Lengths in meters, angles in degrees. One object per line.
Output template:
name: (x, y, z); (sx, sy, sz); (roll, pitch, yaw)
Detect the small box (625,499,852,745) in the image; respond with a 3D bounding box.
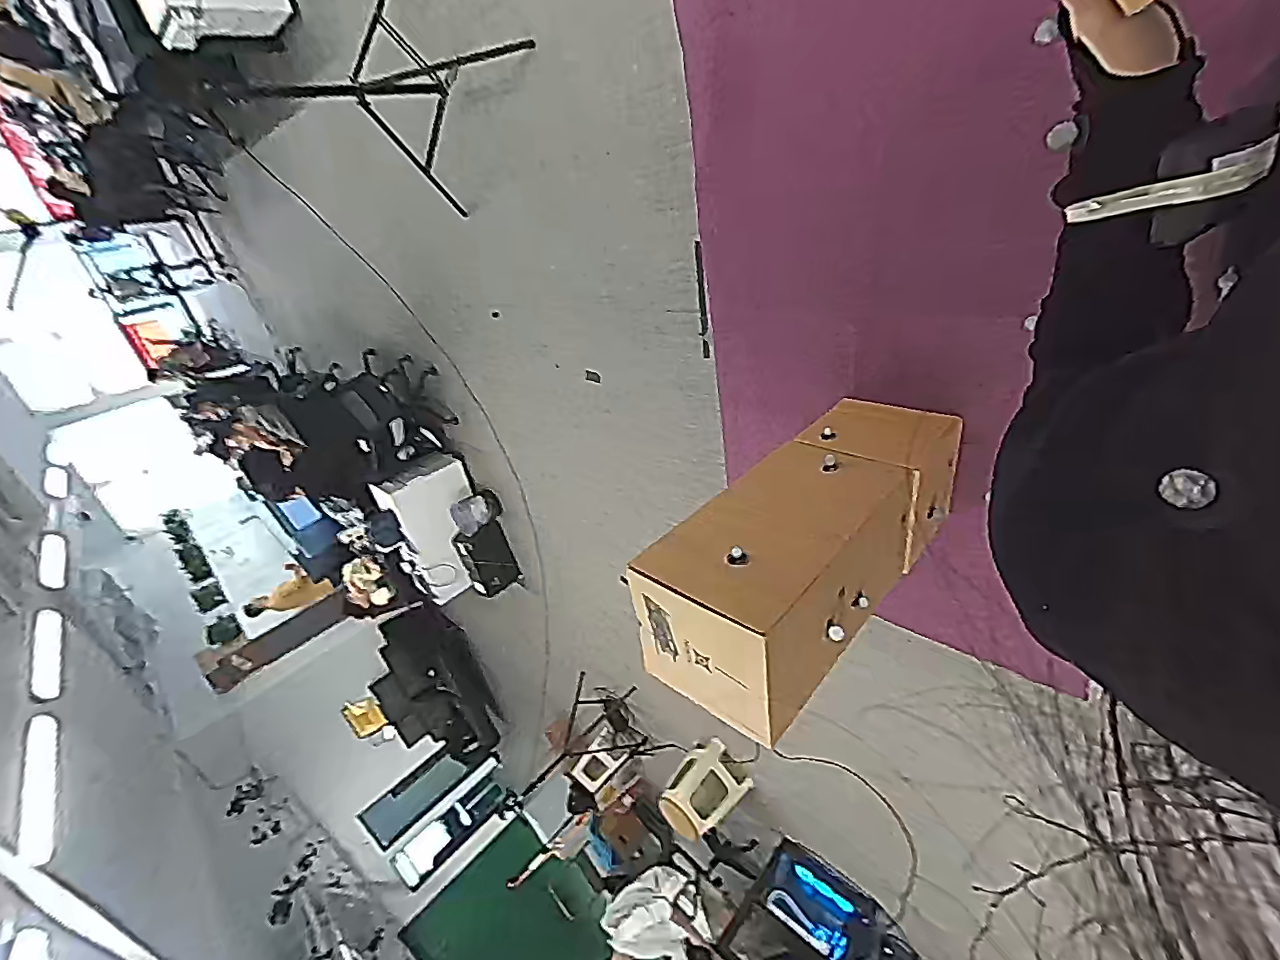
small box: (0.111, 0.141, 0.604); (0.179, 0.176, 0.168); (20, 131, 41)

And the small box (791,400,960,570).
small box: (0.341, -0.004, 0.790); (0.179, 0.176, 0.168); (20, 131, 41)

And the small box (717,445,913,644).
small box: (0.224, 0.069, 0.701); (0.179, 0.176, 0.168); (20, 132, 42)
